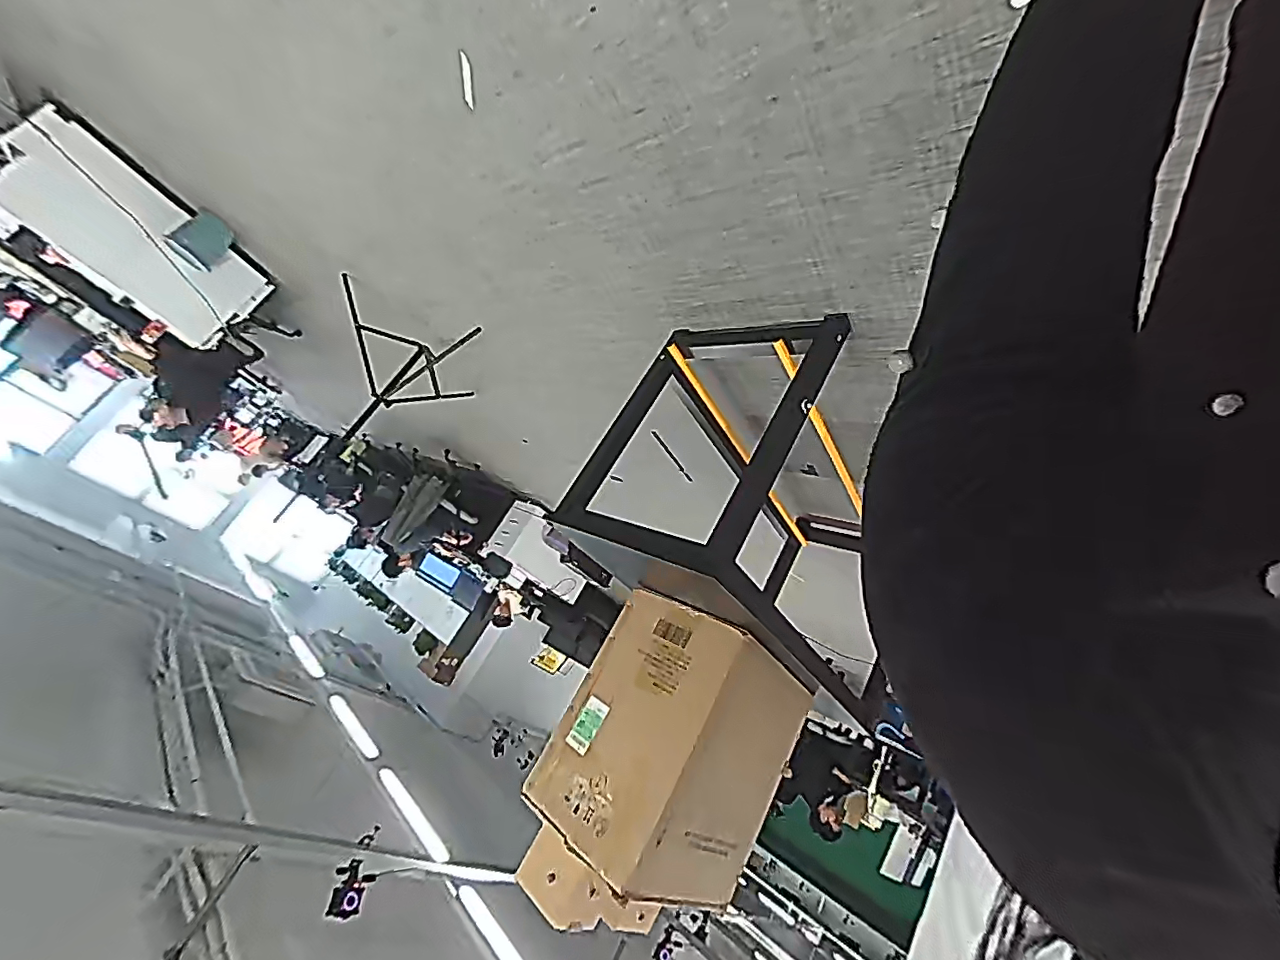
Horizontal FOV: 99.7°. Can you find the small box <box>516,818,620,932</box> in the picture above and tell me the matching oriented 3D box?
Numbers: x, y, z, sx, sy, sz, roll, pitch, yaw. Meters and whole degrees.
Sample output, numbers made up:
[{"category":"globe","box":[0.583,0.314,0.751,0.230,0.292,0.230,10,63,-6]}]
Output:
[{"category":"small box","box":[-0.174,0.998,1.374,0.179,0.176,0.168,14,155,44]}]

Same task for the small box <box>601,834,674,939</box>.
[{"category":"small box","box":[-0.034,1.147,1.532,0.168,0.176,0.179,13,152,46]}]
